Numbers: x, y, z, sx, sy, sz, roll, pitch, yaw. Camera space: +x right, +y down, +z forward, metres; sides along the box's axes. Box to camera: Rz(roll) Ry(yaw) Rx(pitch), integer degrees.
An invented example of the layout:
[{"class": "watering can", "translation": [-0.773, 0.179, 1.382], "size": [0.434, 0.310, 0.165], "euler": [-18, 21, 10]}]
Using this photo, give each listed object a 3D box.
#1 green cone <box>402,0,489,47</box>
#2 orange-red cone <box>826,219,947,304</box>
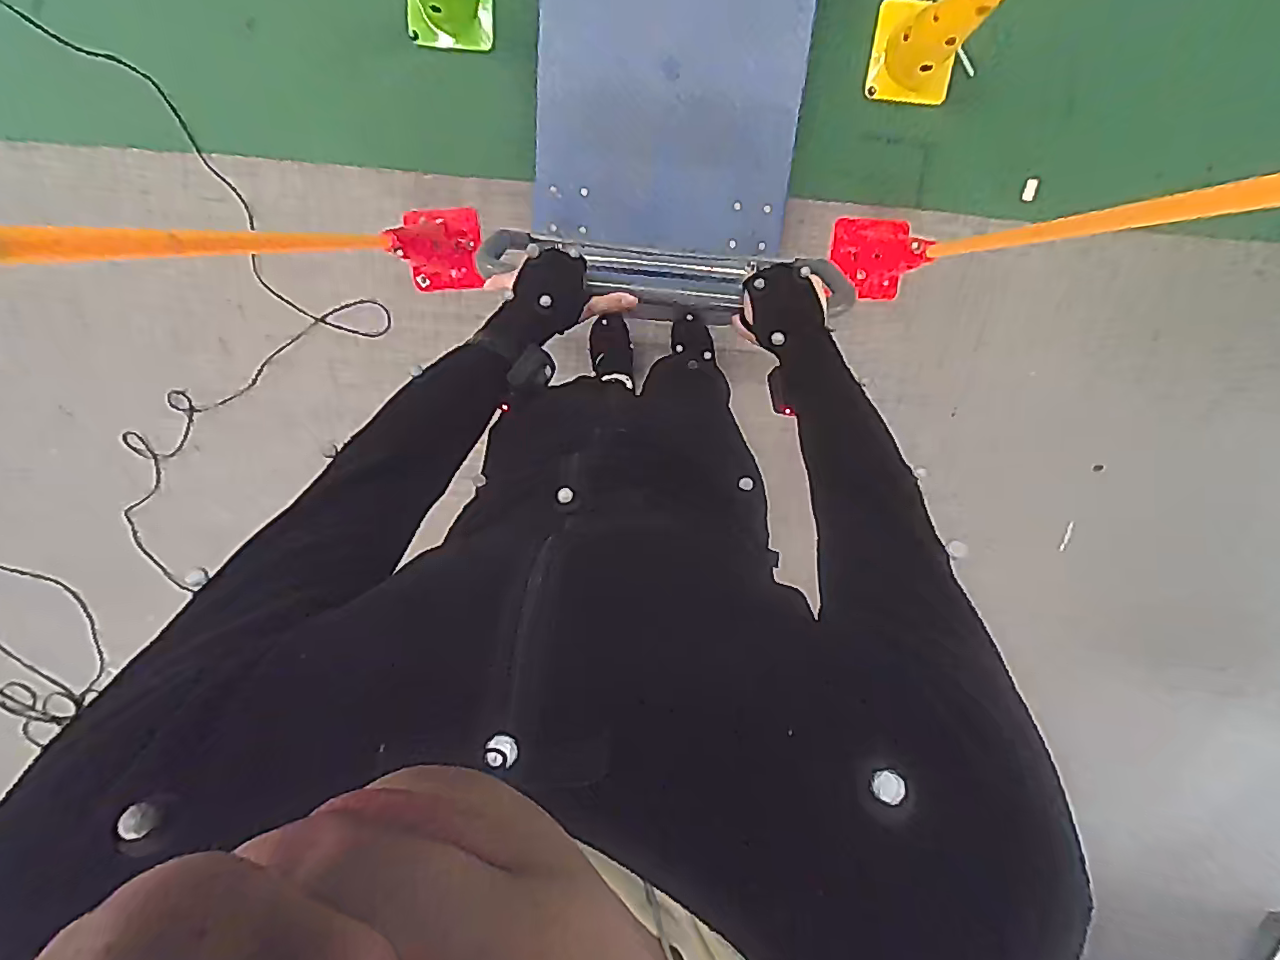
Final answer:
[{"class": "green cone", "translation": [-0.447, -1.054, 1.068], "size": [0.200, 0.368, 0.202], "euler": [4, 109, 0]}, {"class": "orange-red cone", "translation": [0.598, -0.518, 1.255], "size": [0.198, 0.360, 0.199], "euler": [4, 108, -2]}]
